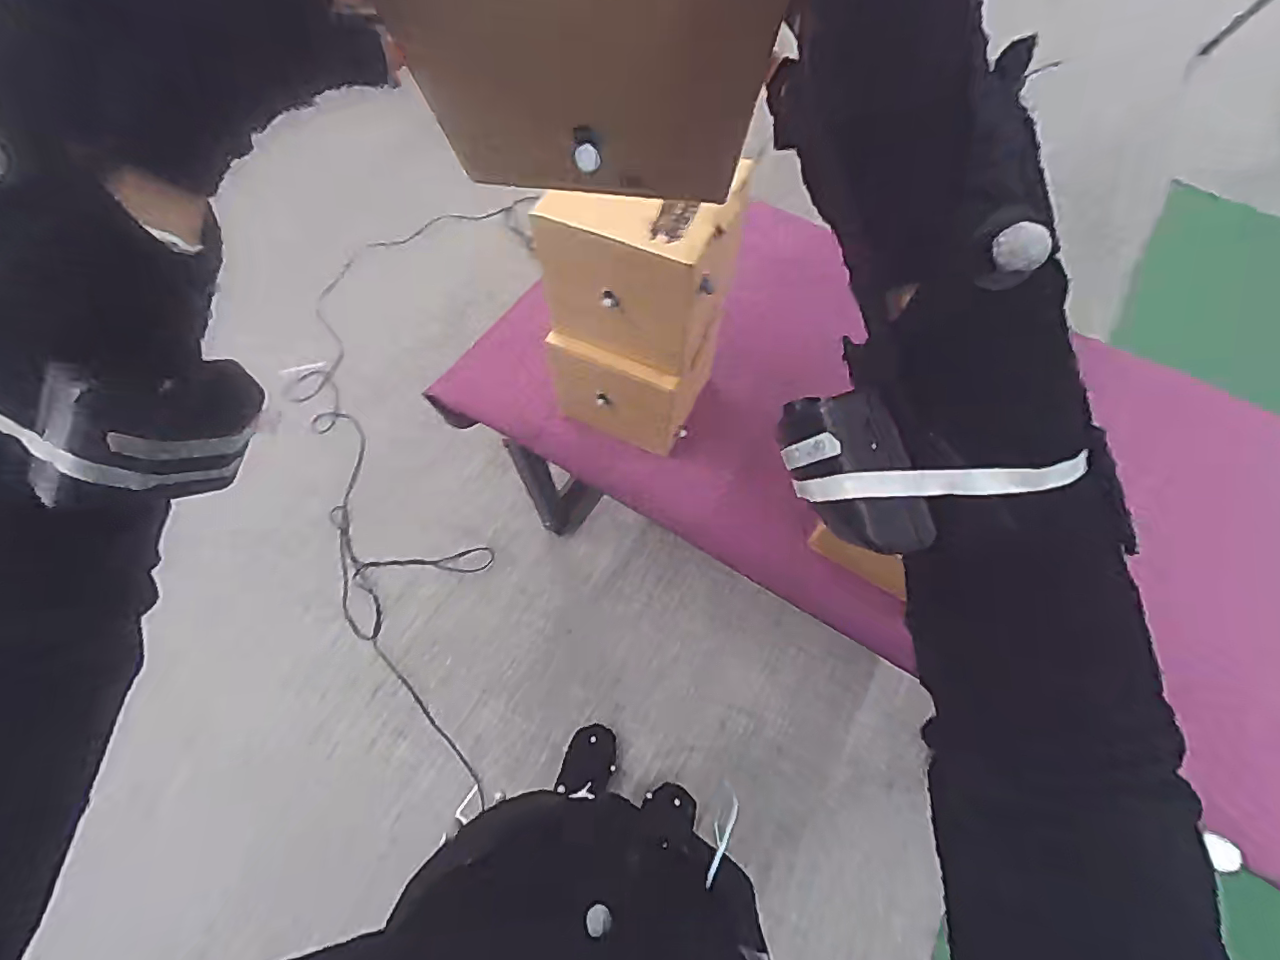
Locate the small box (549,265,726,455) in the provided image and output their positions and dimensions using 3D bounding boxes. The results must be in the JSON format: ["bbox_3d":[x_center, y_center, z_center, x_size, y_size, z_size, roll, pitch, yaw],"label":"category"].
[{"bbox_3d":[-0.001,-0.158,0.757,0.179,0.176,0.168,24,66,11],"label":"small box"}]

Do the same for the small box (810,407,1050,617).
[{"bbox_3d":[0.341,0.050,0.666,0.179,0.176,0.168,32,67,15],"label":"small box"}]

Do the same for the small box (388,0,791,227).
[{"bbox_3d":[-0.019,-0.261,0.275,0.168,0.176,0.179,6,89,-1],"label":"small box"}]
